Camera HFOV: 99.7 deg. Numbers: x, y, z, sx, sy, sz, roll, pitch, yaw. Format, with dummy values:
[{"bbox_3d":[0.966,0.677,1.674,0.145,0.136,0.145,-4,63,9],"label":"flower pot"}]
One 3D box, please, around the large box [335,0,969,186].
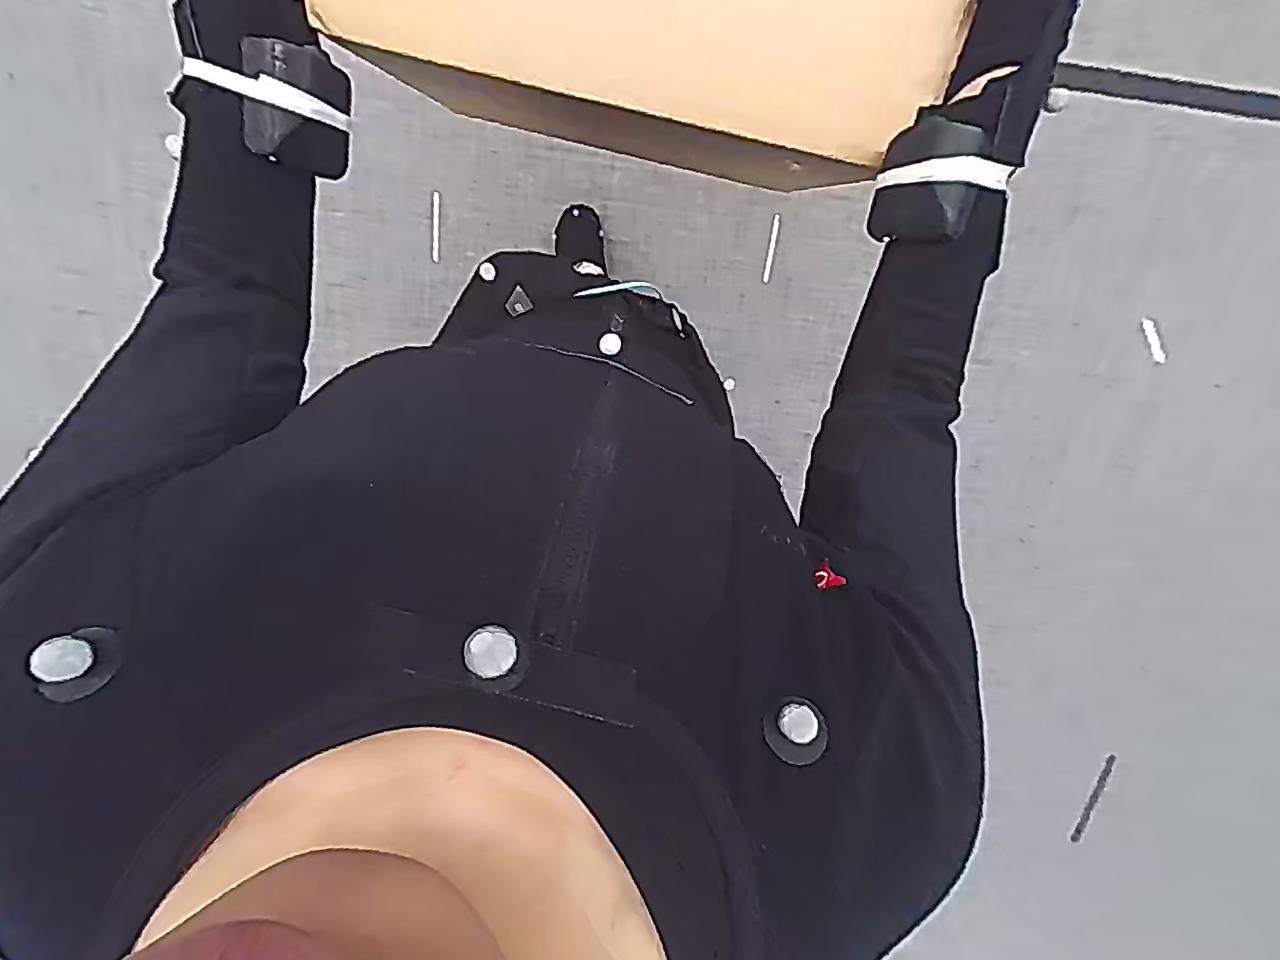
[{"bbox_3d":[0.020,-0.452,0.434,0.408,0.320,0.320,9,117,-8],"label":"large box"}]
